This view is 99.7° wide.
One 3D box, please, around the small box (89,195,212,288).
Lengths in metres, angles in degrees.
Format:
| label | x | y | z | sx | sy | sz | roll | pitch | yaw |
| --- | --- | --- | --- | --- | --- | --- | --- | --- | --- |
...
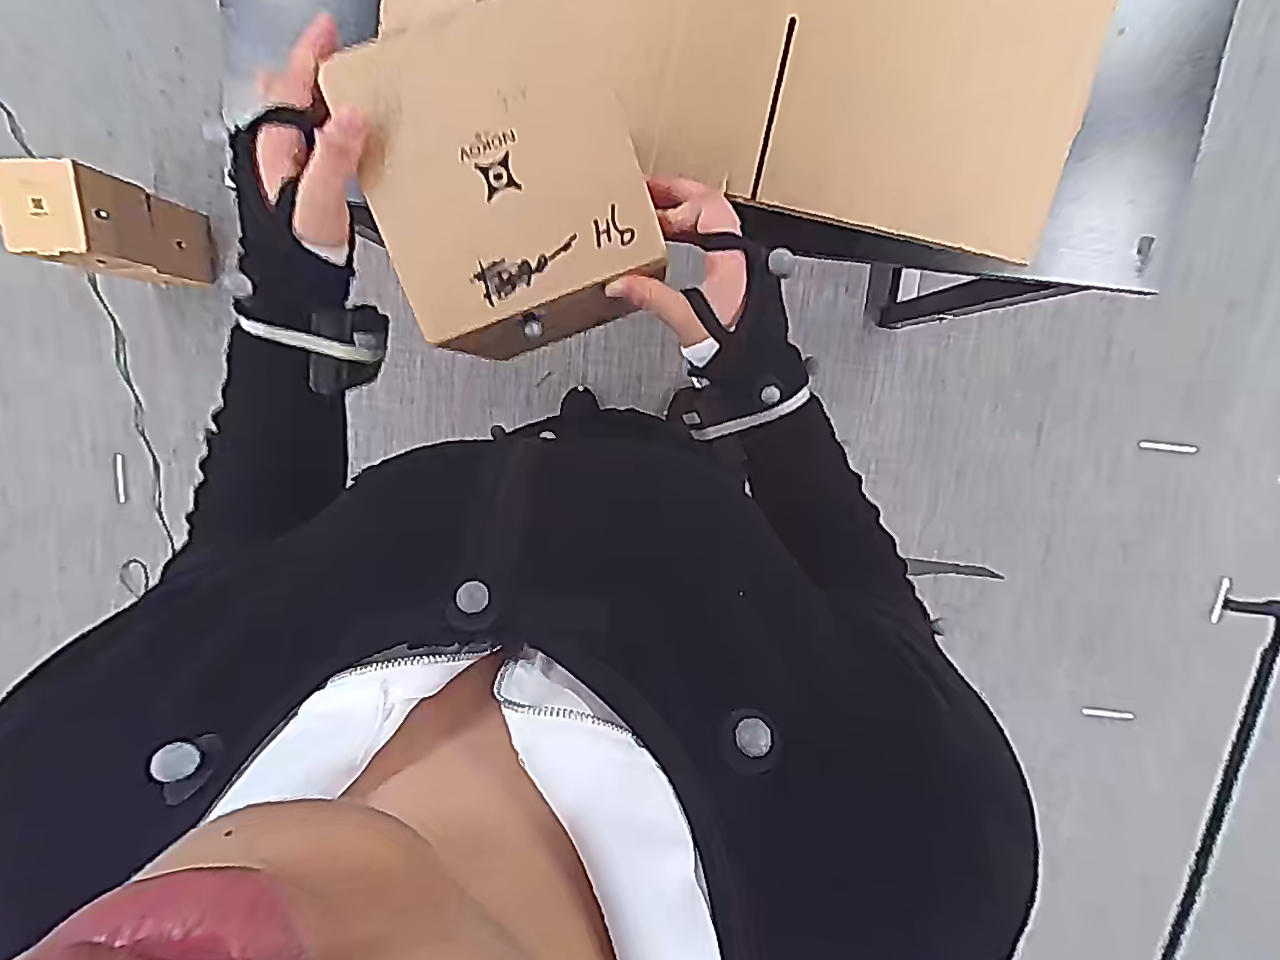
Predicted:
| label | x | y | z | sx | sy | sz | roll | pitch | yaw |
| --- | --- | --- | --- | --- | --- | --- | --- | --- | --- |
| small box | -1.188 | -0.575 | 1.313 | 0.168 | 0.176 | 0.179 | 2 | 101 | 0 |

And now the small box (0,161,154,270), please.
| label | x | y | z | sx | sy | sz | roll | pitch | yaw |
| --- | --- | --- | --- | --- | --- | --- | --- | --- | --- |
| small box | -1.190 | -0.552 | 1.152 | 0.168 | 0.176 | 0.179 | -1 | 99 | -1 |
